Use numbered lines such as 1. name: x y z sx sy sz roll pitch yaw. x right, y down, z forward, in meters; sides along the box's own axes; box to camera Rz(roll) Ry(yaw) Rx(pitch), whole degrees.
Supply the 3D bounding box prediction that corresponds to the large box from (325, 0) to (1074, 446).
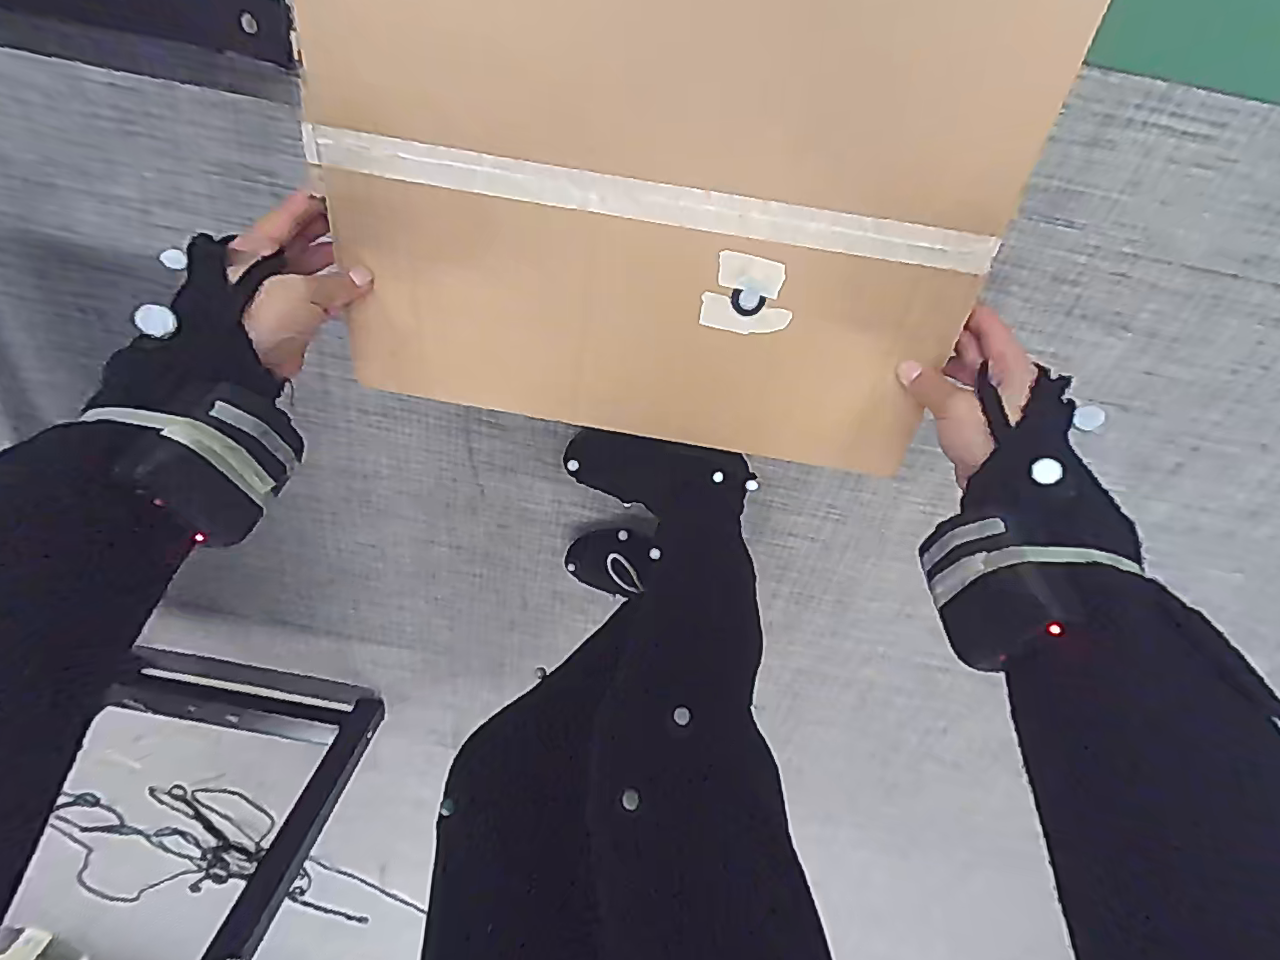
1. large box: 0.023 -0.255 0.462 0.408 0.320 0.320 8 122 0
